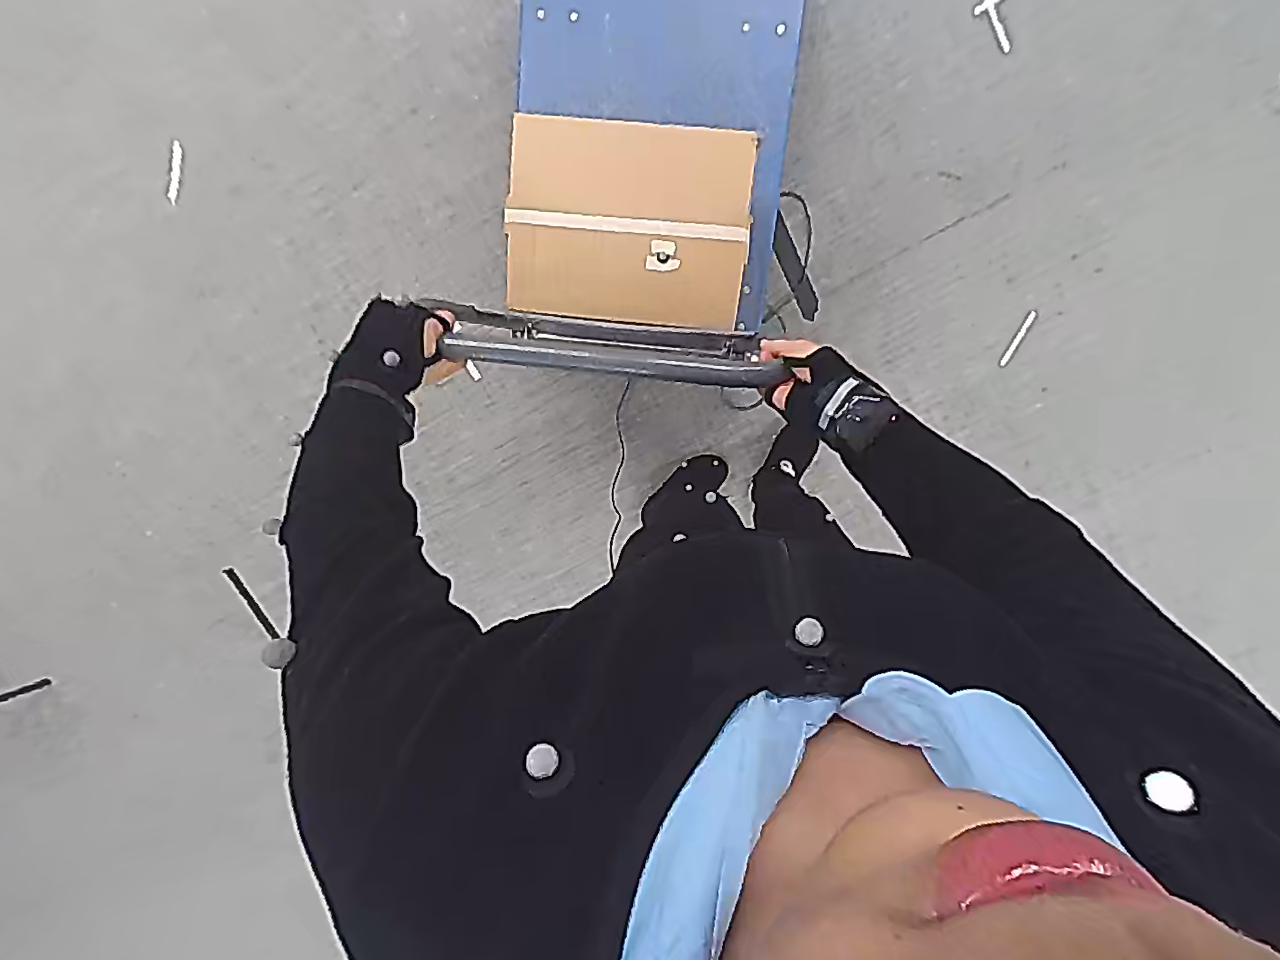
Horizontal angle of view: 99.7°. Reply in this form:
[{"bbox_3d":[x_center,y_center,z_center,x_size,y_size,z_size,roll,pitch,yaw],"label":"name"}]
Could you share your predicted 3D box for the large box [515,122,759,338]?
[{"bbox_3d":[-0.007,-0.457,1.063,0.408,0.320,0.320,6,103,2],"label":"large box"}]
